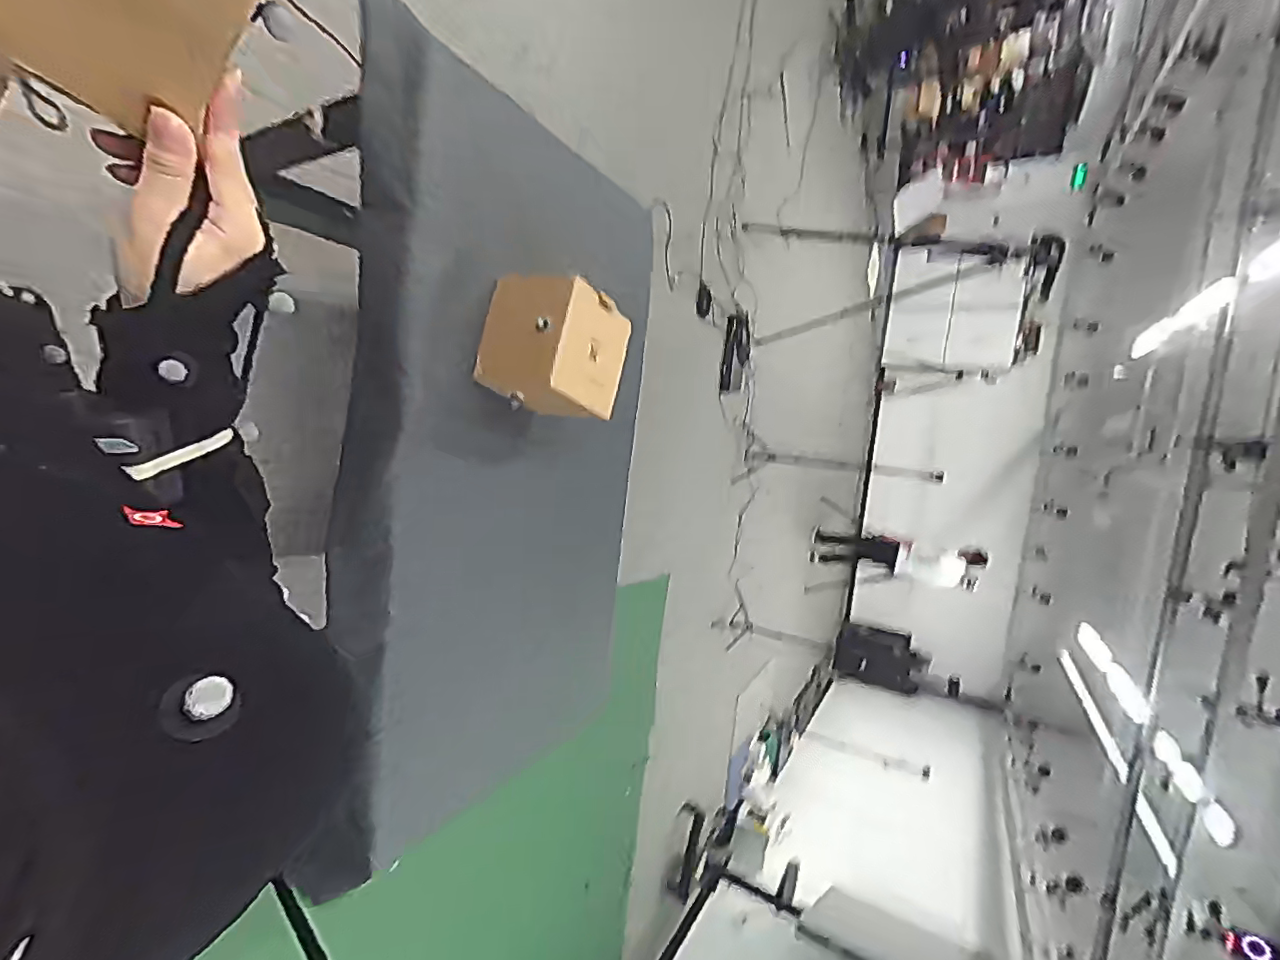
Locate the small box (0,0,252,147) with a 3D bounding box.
[{"bbox_3d":[-0.239,-0.296,0.213,0.168,0.179,0.176,24,45,-47],"label":"small box"}]

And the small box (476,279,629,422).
[{"bbox_3d":[-0.144,-0.211,0.896,0.168,0.176,0.179,24,79,-58],"label":"small box"}]
